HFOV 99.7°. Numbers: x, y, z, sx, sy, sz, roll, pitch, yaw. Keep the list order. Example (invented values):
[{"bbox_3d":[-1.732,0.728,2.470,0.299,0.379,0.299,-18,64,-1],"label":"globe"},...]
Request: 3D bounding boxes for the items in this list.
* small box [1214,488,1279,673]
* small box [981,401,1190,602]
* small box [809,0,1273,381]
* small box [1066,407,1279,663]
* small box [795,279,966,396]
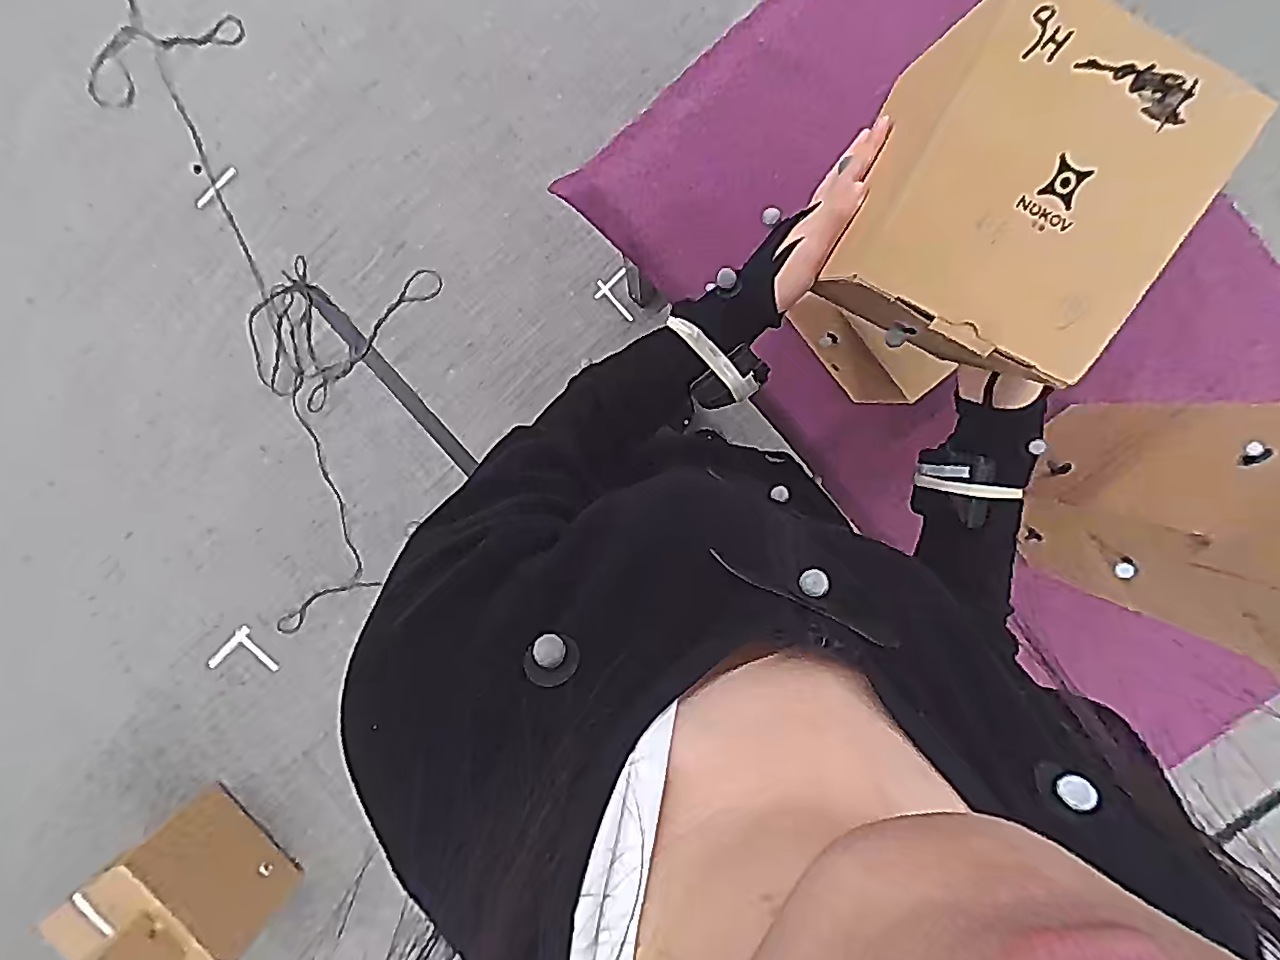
[{"bbox_3d":[0.565,0.078,0.366,0.179,0.176,0.168,-41,96,5],"label":"small box"},{"bbox_3d":[0.578,0.018,0.687,0.179,0.176,0.168,-38,96,5],"label":"small box"},{"bbox_3d":[0.243,-0.197,0.390,0.168,0.176,0.179,23,109,-8],"label":"small box"},{"bbox_3d":[0.582,0.040,0.524,0.179,0.176,0.168,-38,96,6],"label":"small box"},{"bbox_3d":[0.311,-0.215,0.658,0.179,0.176,0.168,-40,96,4],"label":"small box"}]
